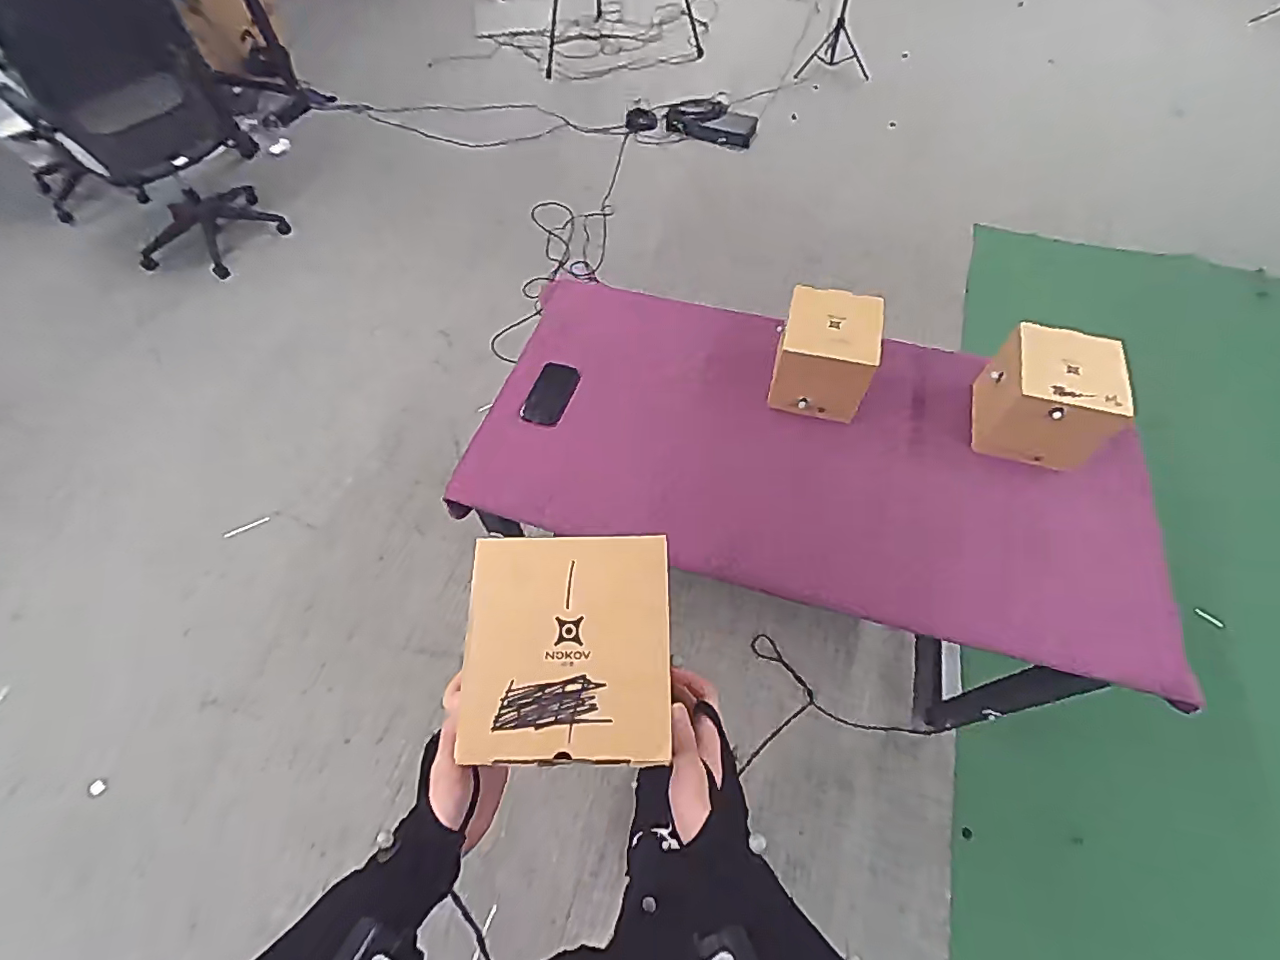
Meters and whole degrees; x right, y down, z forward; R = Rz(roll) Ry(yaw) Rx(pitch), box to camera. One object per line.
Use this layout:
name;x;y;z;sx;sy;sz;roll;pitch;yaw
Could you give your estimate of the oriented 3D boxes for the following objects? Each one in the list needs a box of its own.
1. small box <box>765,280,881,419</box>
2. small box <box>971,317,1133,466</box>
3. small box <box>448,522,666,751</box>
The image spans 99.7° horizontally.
small box;0.342;-0.245;1.028;0.168;0.176;0.179;13;60;10
small box;0.714;-0.155;0.960;0.168;0.176;0.179;14;60;11
small box;-0.059;0.145;0.501;0.168;0.176;0.179;-1;68;1
